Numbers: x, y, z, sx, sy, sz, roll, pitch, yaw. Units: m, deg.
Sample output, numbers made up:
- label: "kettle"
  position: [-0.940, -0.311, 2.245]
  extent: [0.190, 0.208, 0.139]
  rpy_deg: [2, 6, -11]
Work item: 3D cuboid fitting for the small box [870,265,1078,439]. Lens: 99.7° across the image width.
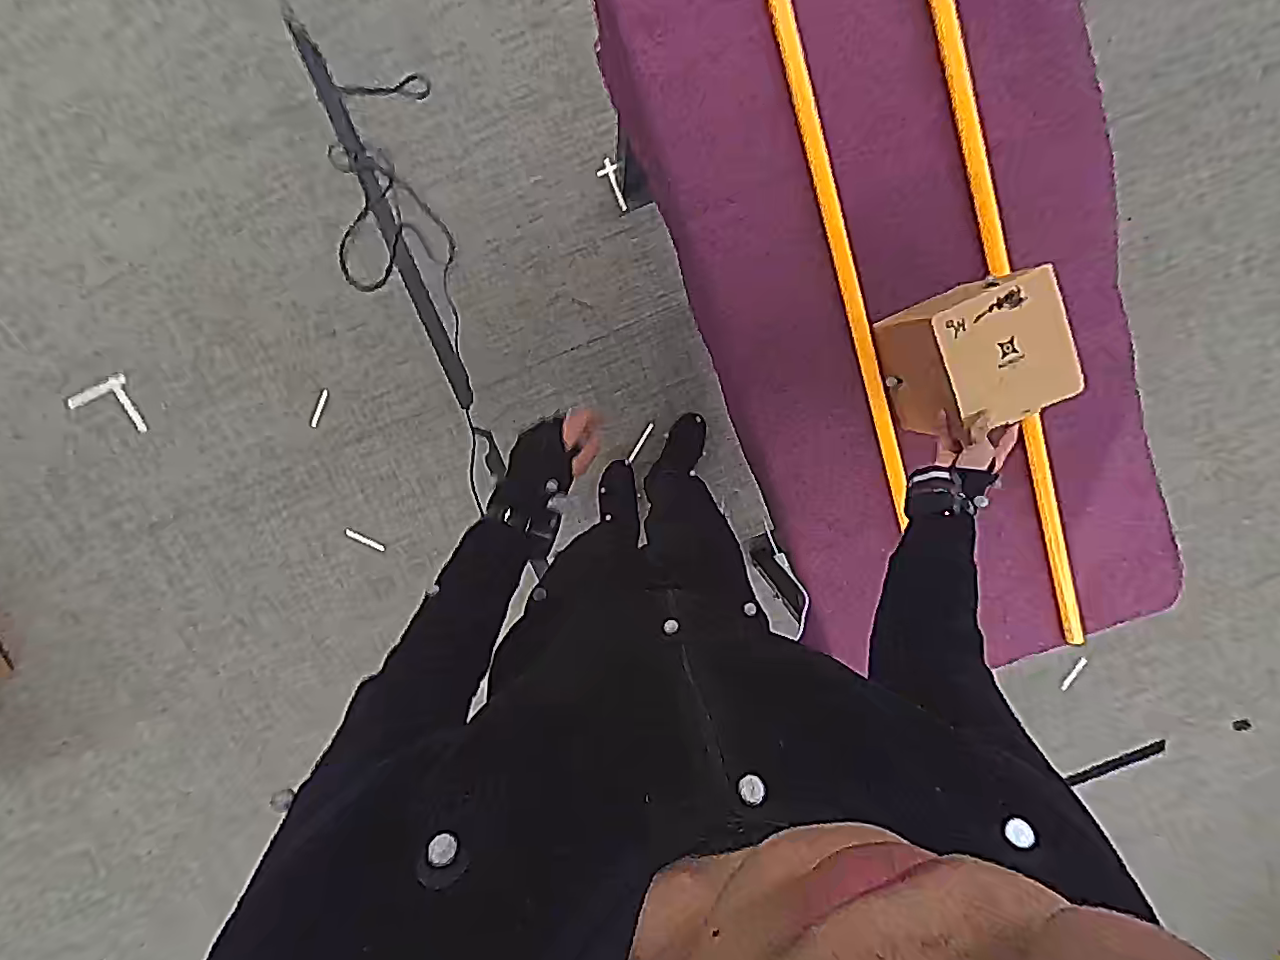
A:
- label: "small box"
  position: [0.462, -0.179, 0.770]
  extent: [0.168, 0.176, 0.179]
  rpy_deg: [-24, 103, 2]
